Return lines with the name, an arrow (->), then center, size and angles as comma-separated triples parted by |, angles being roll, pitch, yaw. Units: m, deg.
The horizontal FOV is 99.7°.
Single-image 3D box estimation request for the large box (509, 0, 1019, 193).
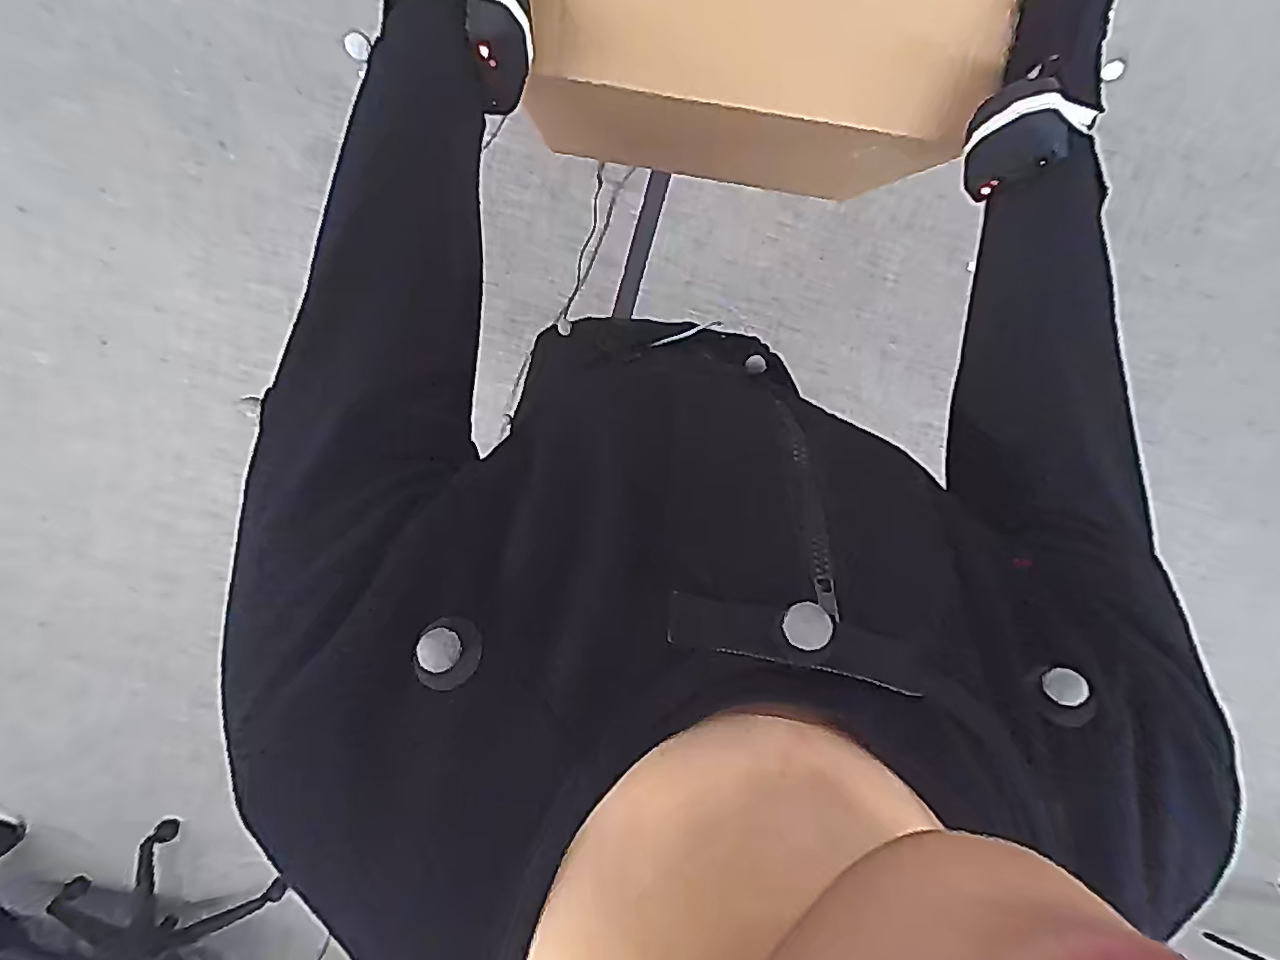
large box -> 0.106, -0.503, 0.532 | 0.408, 0.320, 0.320 | 8, 111, -4
